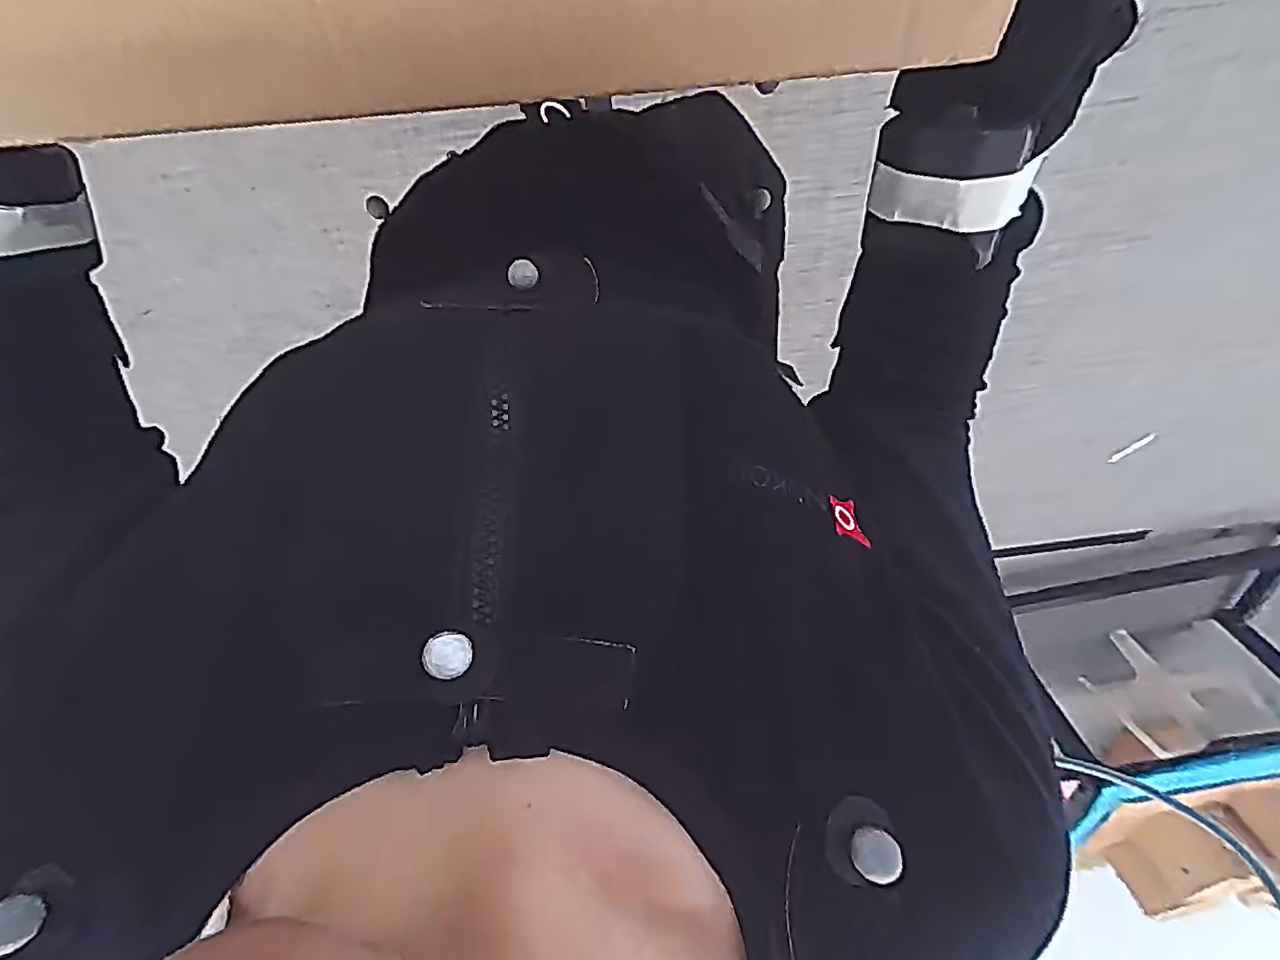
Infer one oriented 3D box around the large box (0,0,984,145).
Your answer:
[{"bbox_3d":[-0.086,-0.363,0.196,0.408,0.320,0.320,-5,138,0],"label":"large box"}]
